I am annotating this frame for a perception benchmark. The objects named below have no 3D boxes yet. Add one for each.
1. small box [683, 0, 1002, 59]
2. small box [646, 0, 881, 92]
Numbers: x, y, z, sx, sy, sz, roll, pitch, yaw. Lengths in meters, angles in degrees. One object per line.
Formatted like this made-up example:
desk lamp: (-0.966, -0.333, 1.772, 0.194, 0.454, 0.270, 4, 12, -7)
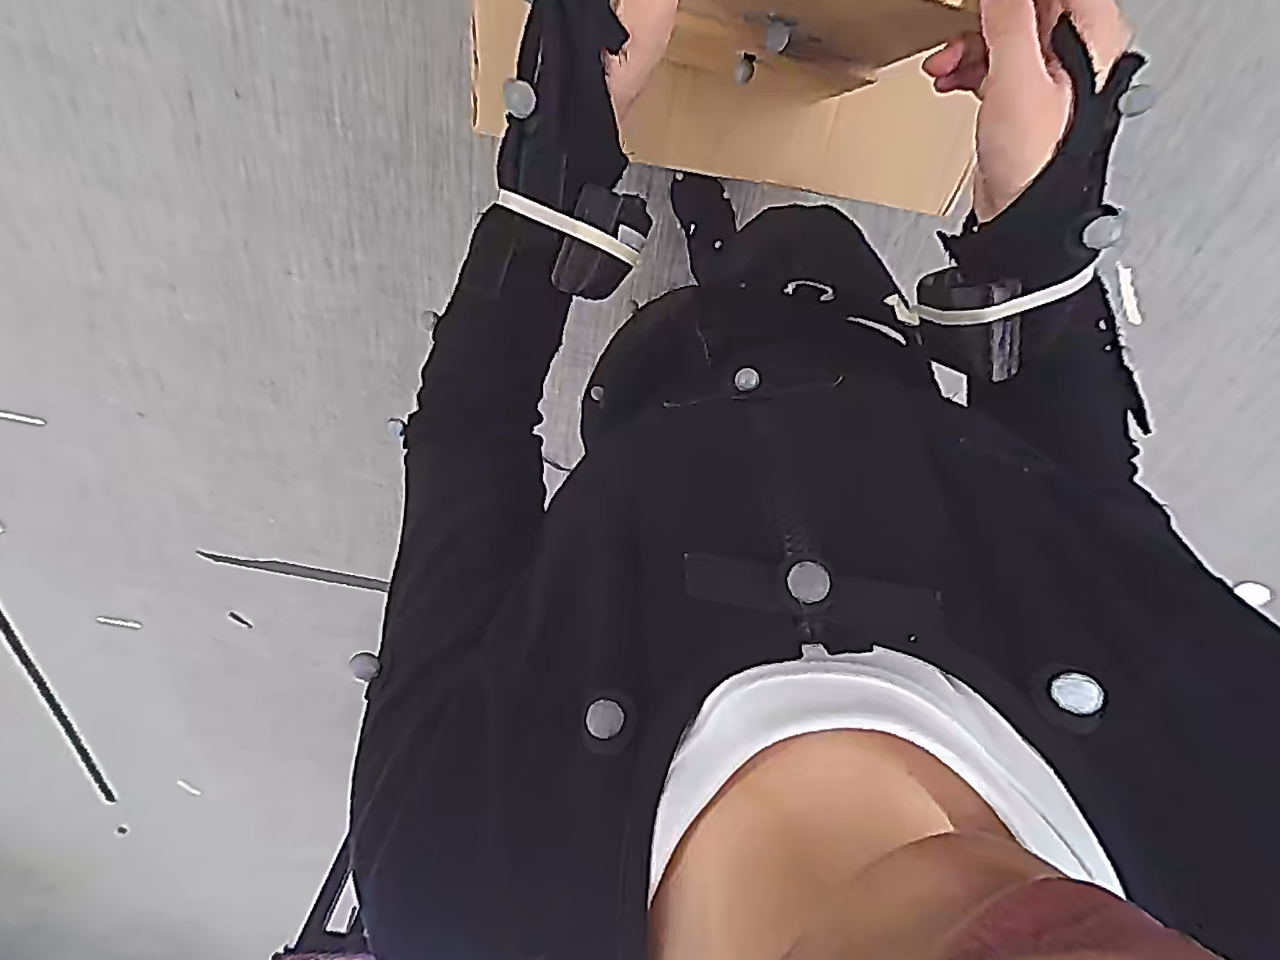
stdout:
small box: (0.113, -0.348, 0.272, 0.168, 0.176, 0.179, 13, 122, -5)
small box: (0.110, -0.423, 0.420, 0.179, 0.176, 0.168, 13, 121, -4)
